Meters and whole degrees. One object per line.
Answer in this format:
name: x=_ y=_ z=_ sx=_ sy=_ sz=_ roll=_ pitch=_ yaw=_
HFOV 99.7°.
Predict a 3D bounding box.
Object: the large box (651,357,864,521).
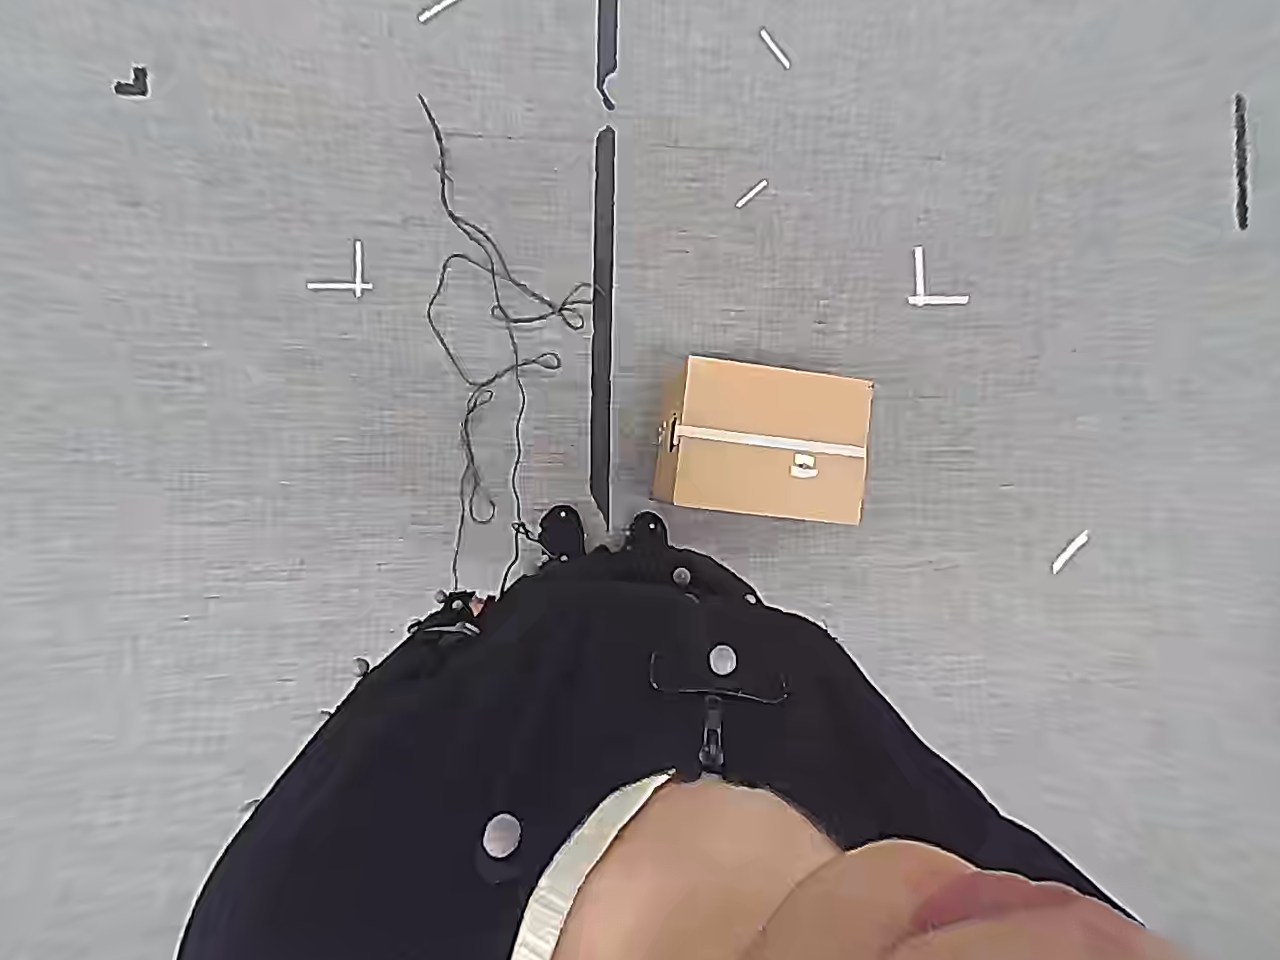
large box: x=0.251 y=-0.080 z=1.276 sx=0.408 sy=0.320 sz=0.320 roll=6 pitch=89 yaw=-7
